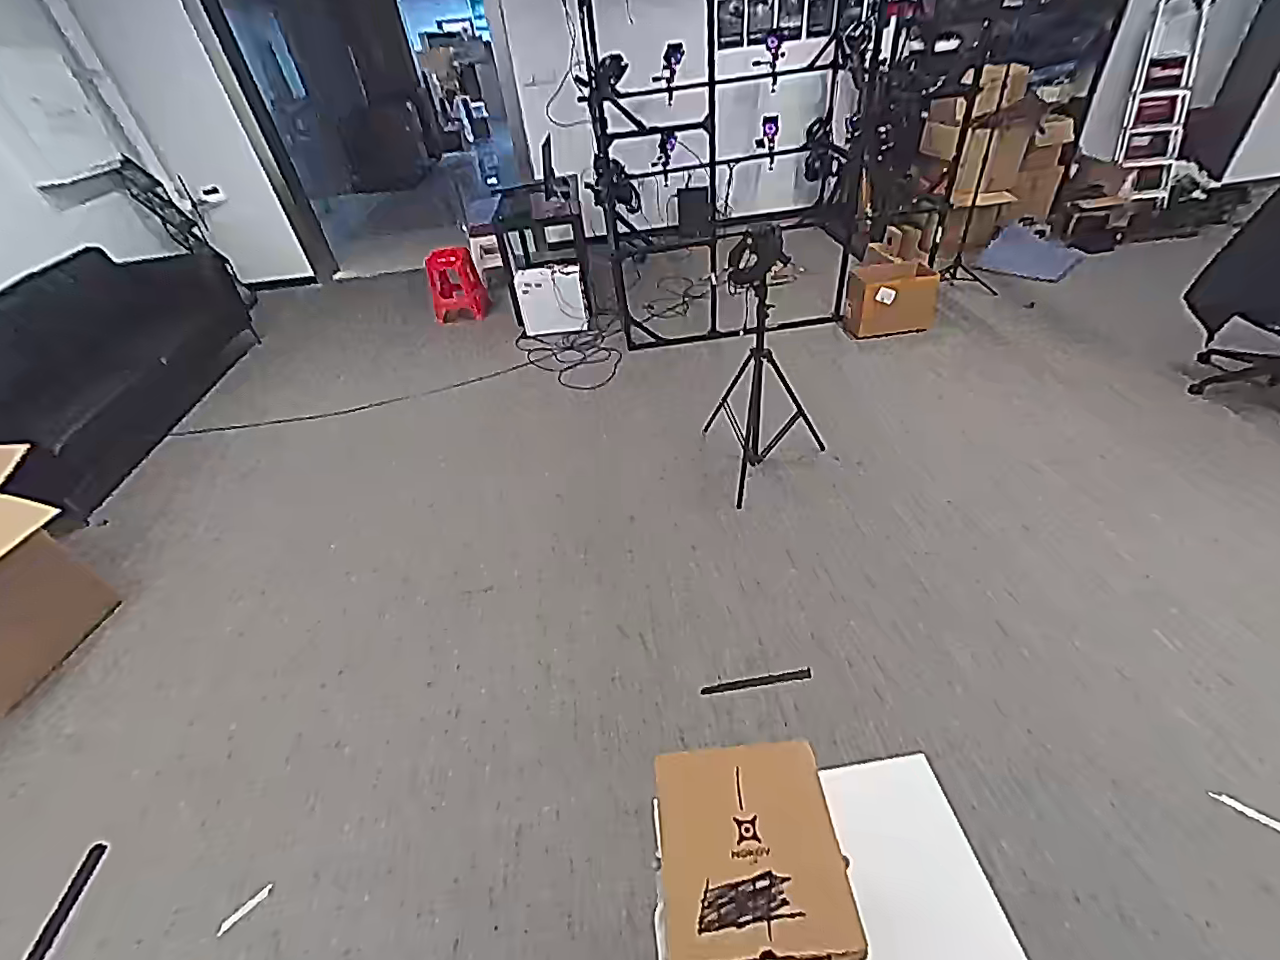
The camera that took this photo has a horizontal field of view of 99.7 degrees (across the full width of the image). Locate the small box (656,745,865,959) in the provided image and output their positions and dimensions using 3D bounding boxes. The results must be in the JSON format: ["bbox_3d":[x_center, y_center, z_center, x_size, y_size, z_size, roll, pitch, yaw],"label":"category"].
[{"bbox_3d":[0.109,0.401,0.552,0.168,0.176,0.179,-6,39,2],"label":"small box"}]
